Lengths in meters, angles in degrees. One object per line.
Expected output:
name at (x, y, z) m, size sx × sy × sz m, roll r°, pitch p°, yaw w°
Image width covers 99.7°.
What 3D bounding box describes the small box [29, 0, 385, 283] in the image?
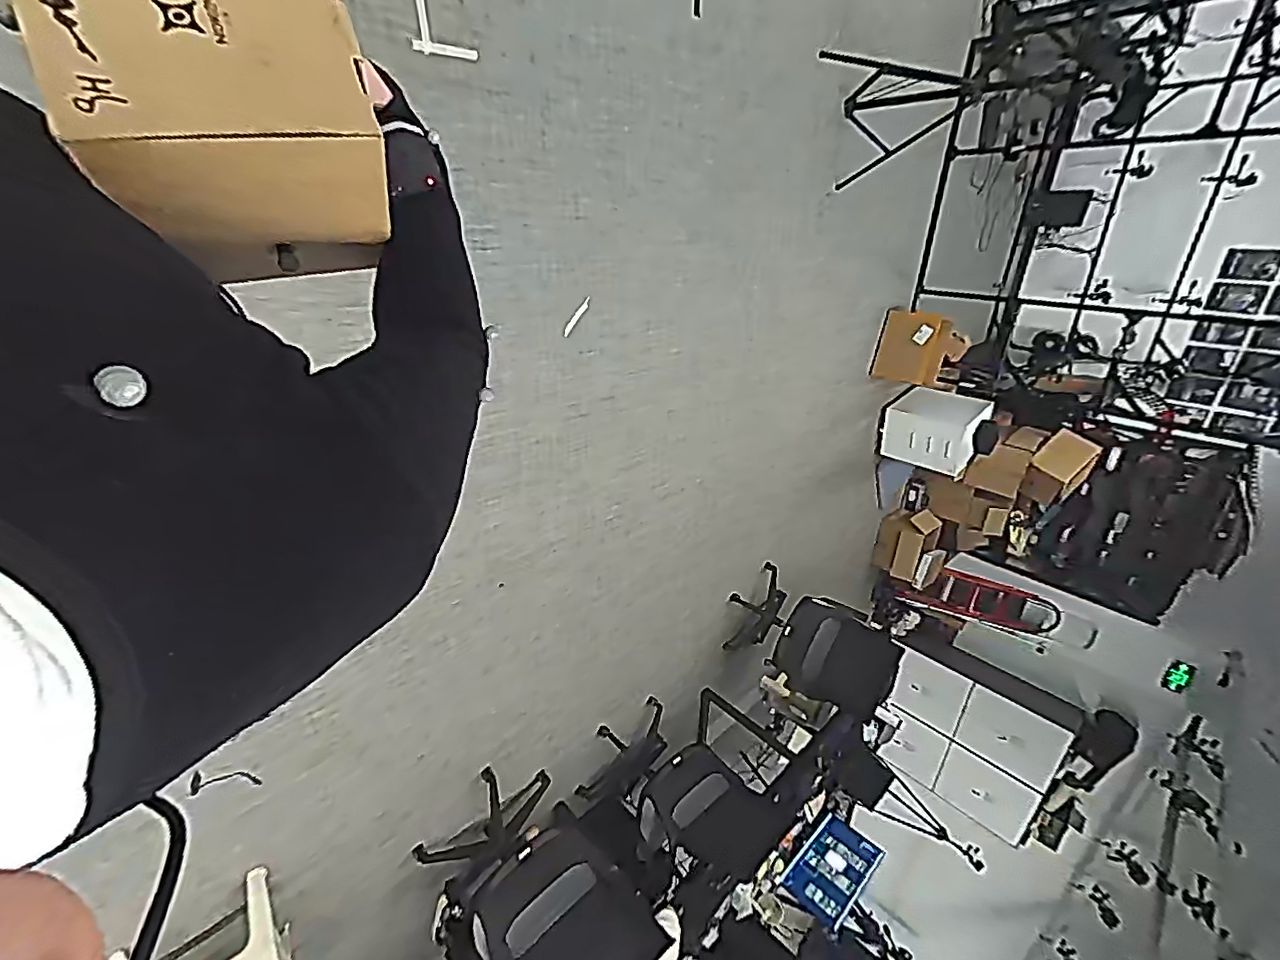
small box at (-0.317, -0.280, 0.431) m, size 0.179 × 0.176 × 0.168 m, roll -18°, pitch 86°, yaw -25°
